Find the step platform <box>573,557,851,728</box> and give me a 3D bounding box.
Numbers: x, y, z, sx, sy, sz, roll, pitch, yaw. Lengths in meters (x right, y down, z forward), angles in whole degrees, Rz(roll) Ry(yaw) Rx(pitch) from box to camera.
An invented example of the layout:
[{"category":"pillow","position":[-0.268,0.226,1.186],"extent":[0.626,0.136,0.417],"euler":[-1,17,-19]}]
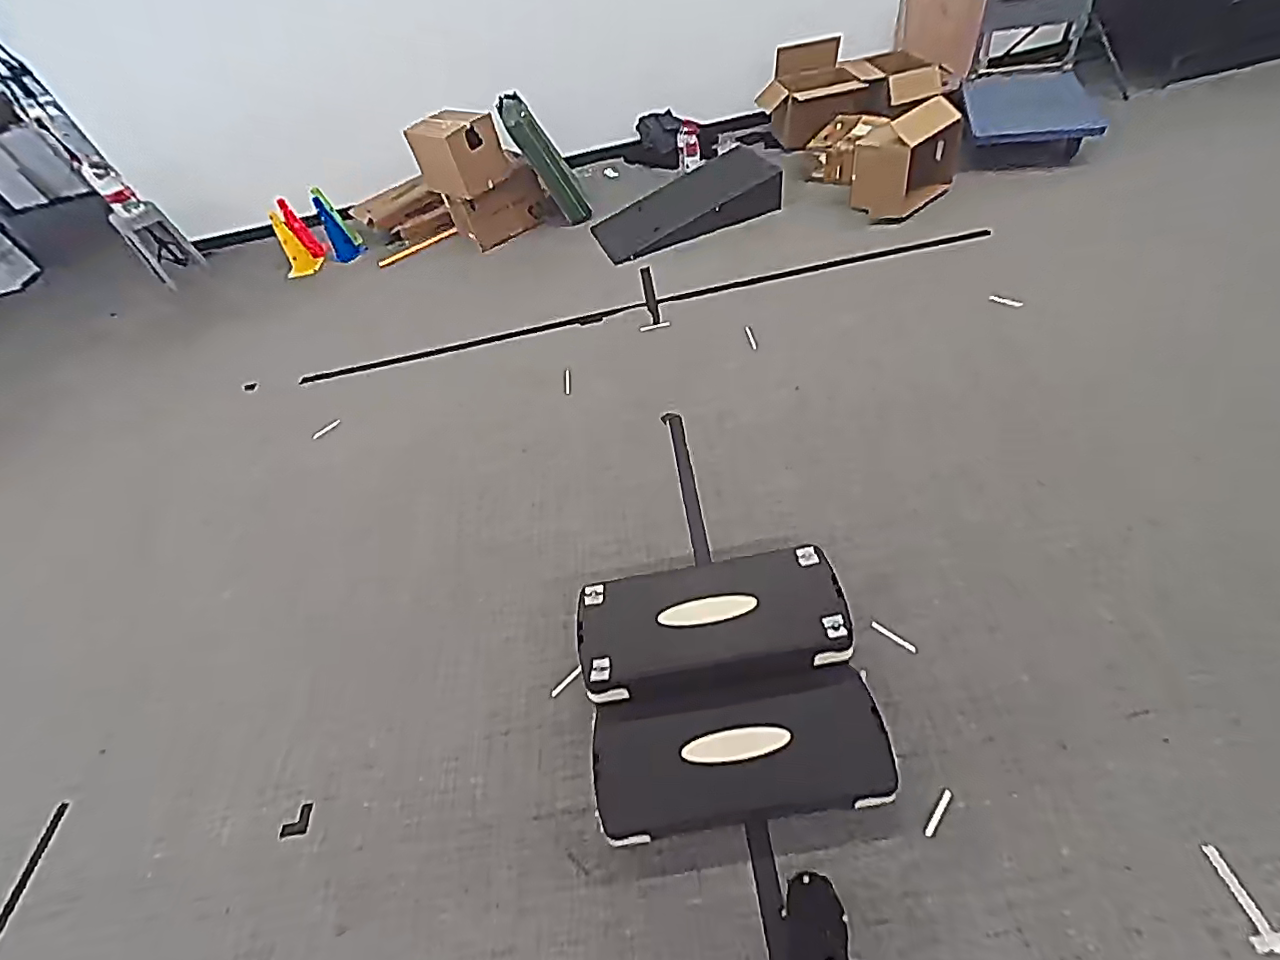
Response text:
[{"category":"step platform","position":[0.171,0.411,1.390],"extent":[0.684,0.204,0.286],"euler":[-11,50,2]}]
